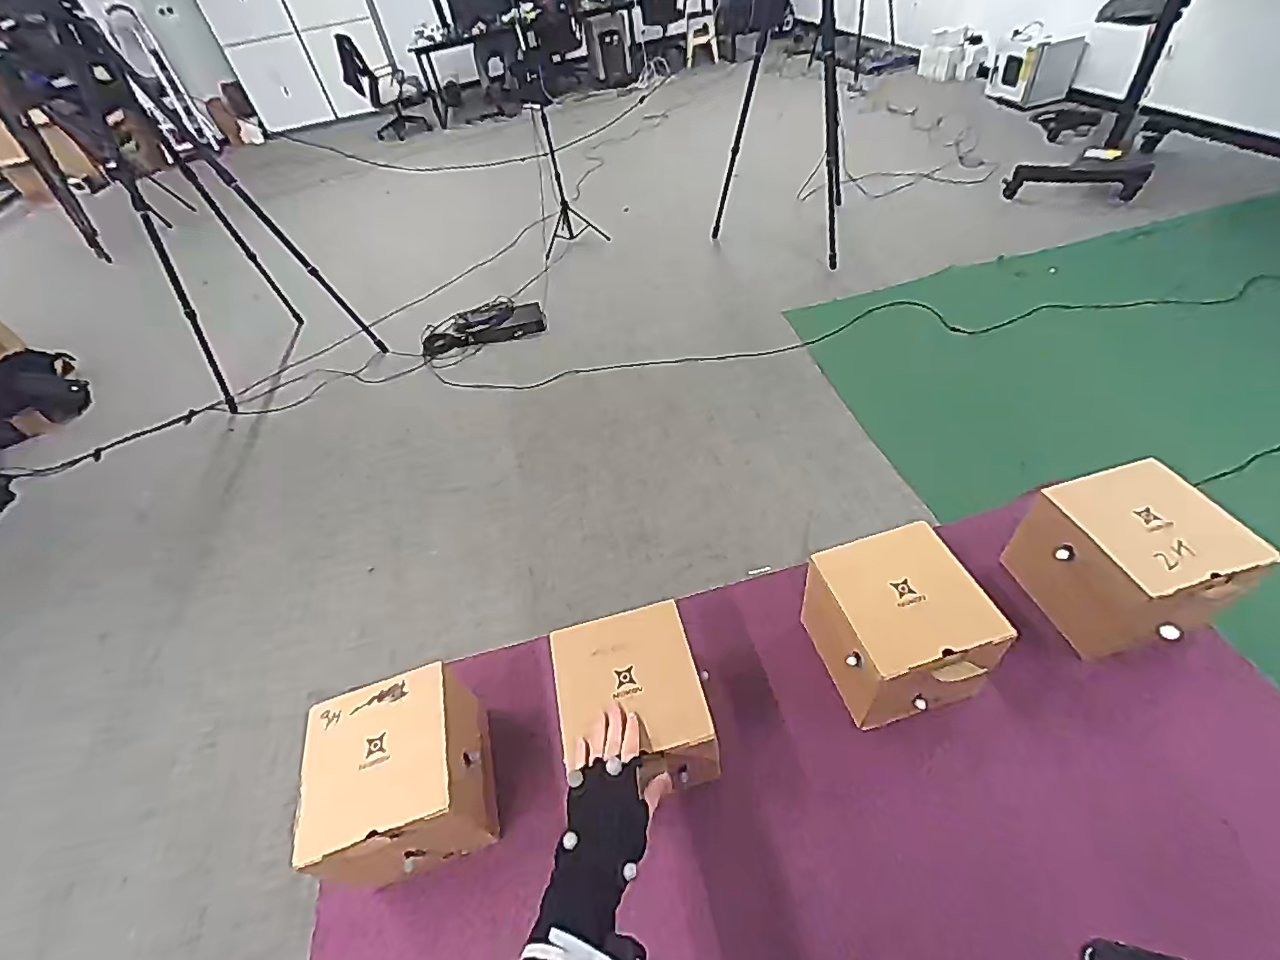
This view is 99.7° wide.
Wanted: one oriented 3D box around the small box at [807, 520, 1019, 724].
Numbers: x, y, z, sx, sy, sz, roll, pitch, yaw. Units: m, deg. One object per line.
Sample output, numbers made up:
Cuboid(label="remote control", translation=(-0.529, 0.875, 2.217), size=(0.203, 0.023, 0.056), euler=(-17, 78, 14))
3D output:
Cuboid(label="small box", translation=(0.334, 0.187, 0.709), size=(0.168, 0.176, 0.179), euler=(-17, 47, -4))

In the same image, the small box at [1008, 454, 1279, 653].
Cuboid(label="small box", translation=(0.640, 0.099, 0.719), size=(0.168, 0.176, 0.179), euler=(-16, 47, -1))

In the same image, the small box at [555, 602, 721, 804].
Cuboid(label="small box", translation=(0.000, 0.289, 0.686), size=(0.168, 0.176, 0.179), euler=(-15, 46, -3))

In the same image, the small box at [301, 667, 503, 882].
Cuboid(label="small box", translation=(-0.281, 0.369, 0.669), size=(0.168, 0.176, 0.179), euler=(-18, 48, -6))
